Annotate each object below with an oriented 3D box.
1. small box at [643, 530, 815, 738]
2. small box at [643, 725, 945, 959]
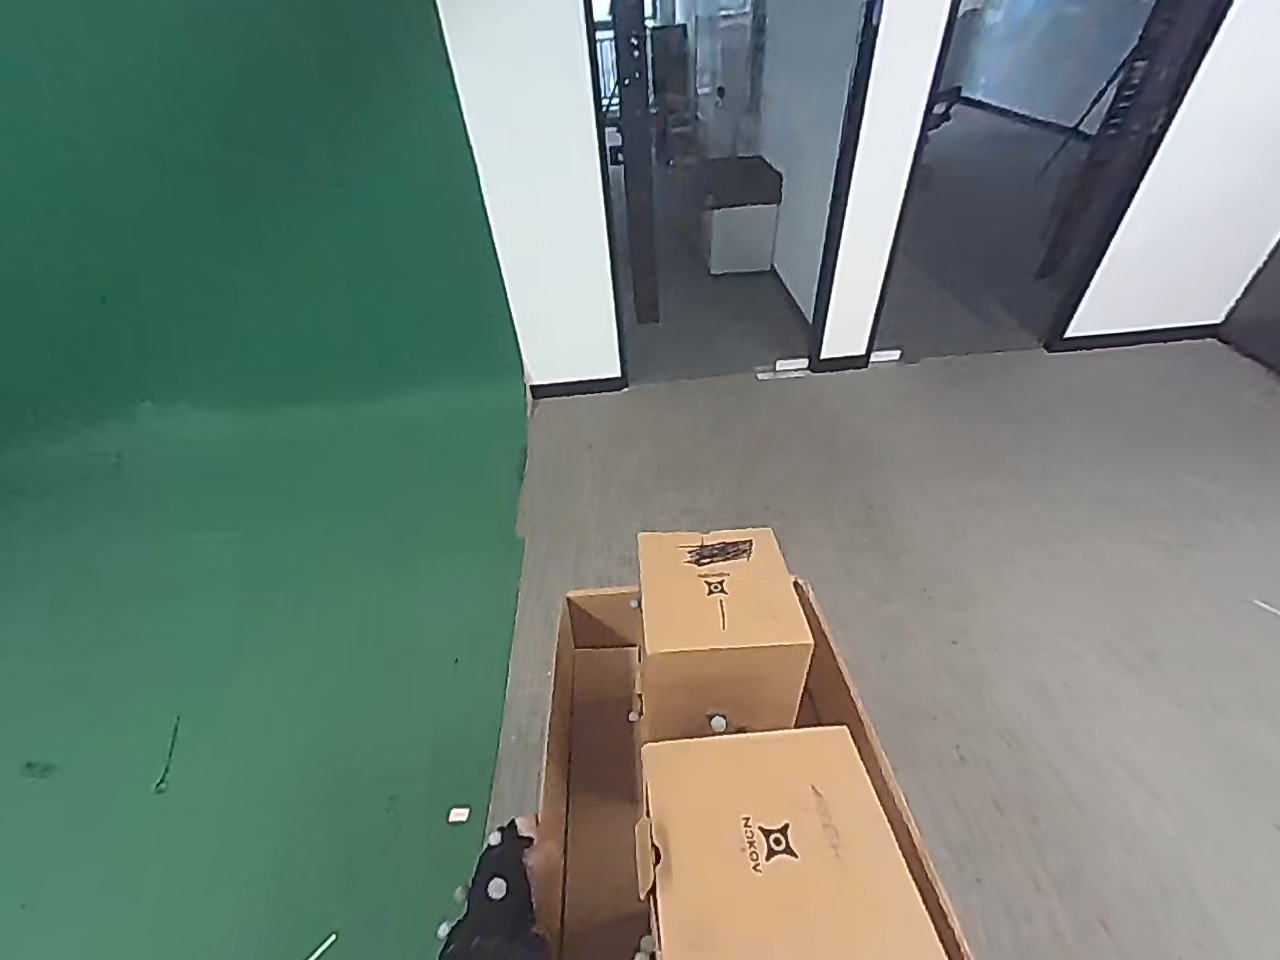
[{"bbox_3d":[0.088,0.179,0.636,0.168,0.176,0.179,-2,36,-1],"label":"small box"},{"bbox_3d":[0.096,0.323,0.429,0.179,0.176,0.168,-3,33,-3],"label":"small box"}]
